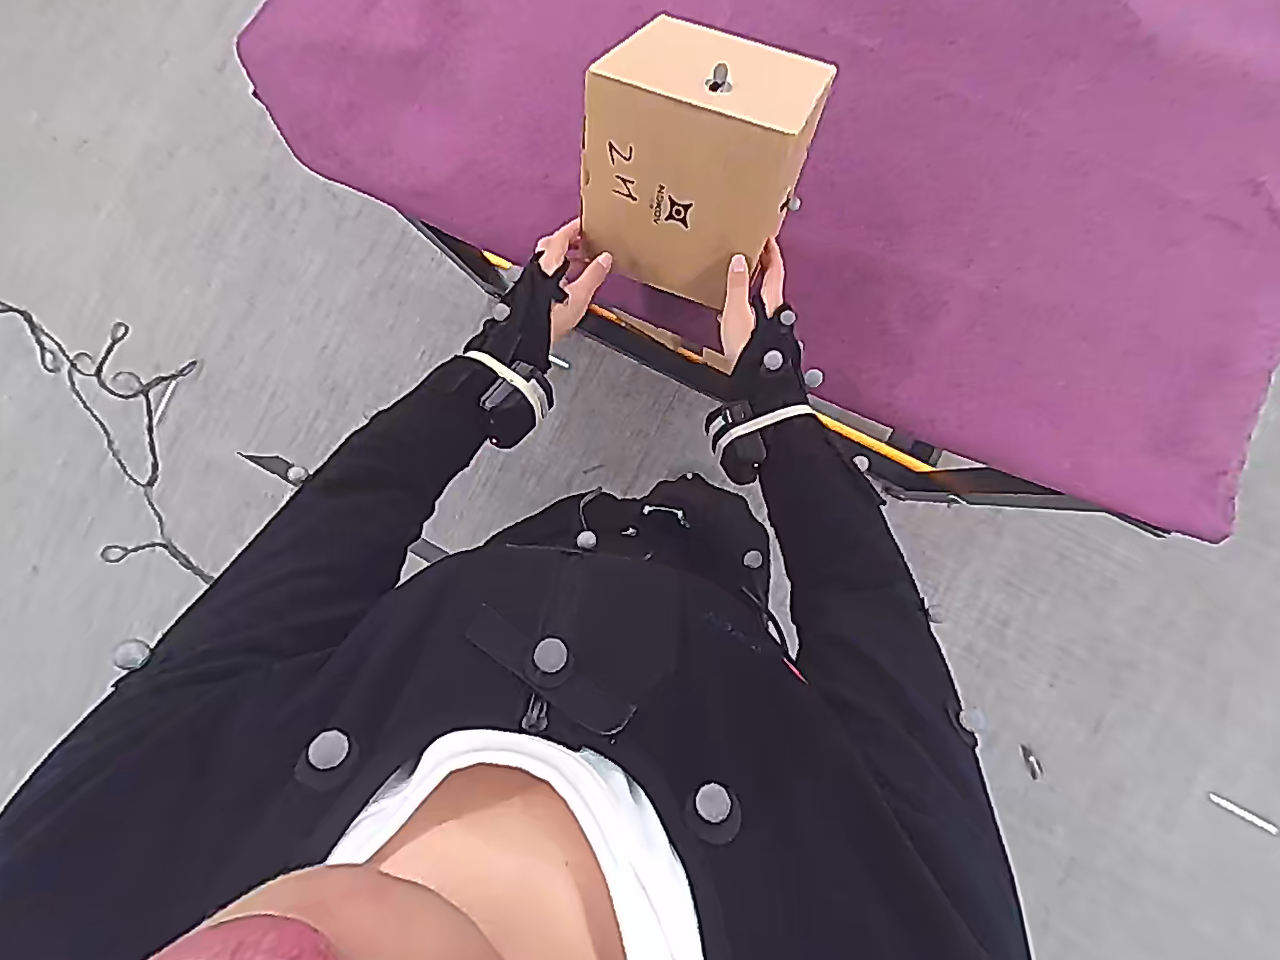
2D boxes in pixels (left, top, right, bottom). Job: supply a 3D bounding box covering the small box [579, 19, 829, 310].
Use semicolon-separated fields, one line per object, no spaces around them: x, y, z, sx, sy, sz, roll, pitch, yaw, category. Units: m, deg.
0.059;-0.300;0.515;0.179;0.168;0.176;23;55;7;small box
